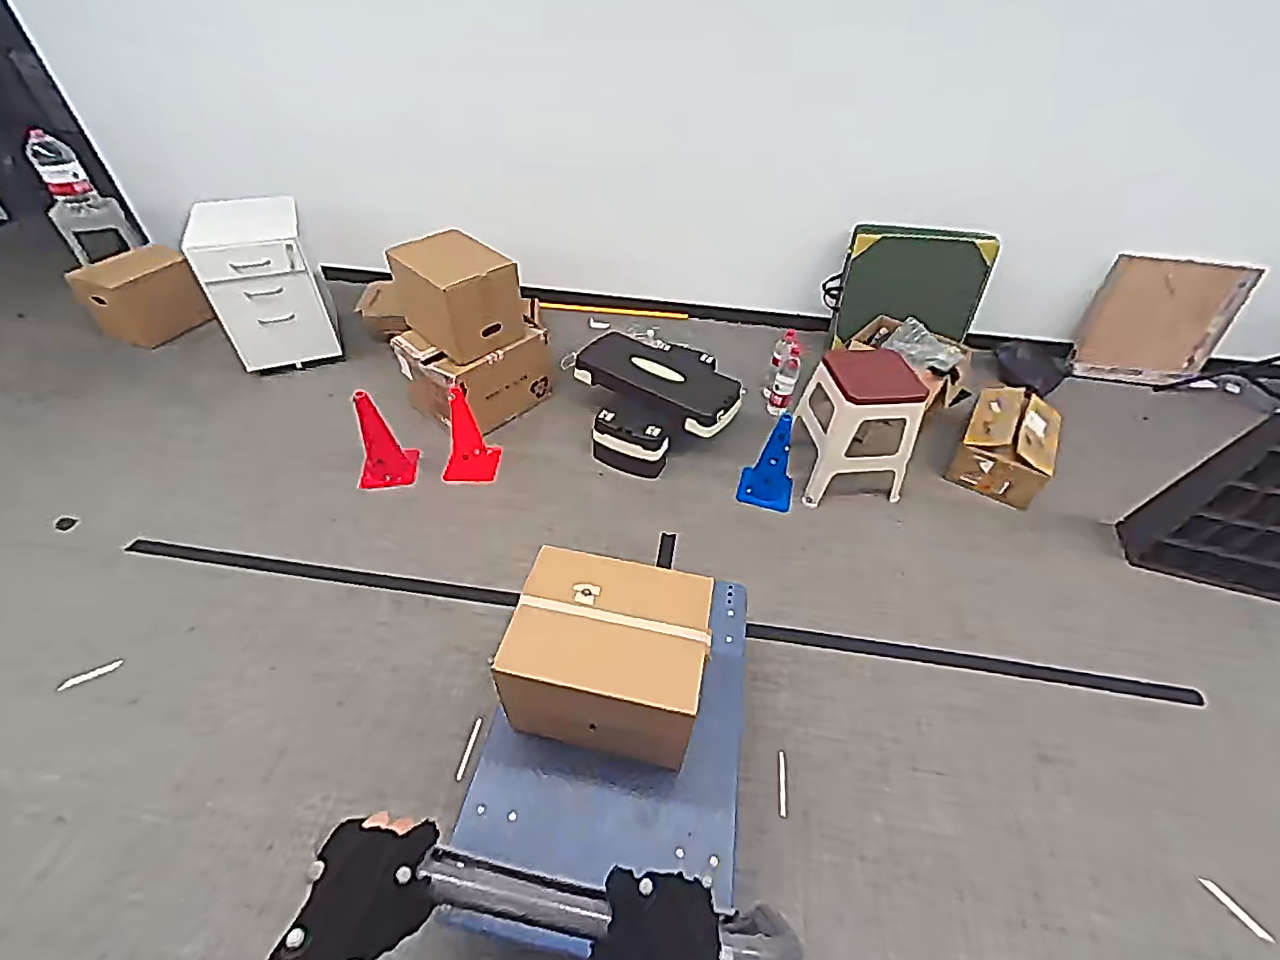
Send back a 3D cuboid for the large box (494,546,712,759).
[{"bbox_3d":[-0.064,0.394,1.236,0.408,0.320,0.320,10,46,7],"label":"large box"}]
